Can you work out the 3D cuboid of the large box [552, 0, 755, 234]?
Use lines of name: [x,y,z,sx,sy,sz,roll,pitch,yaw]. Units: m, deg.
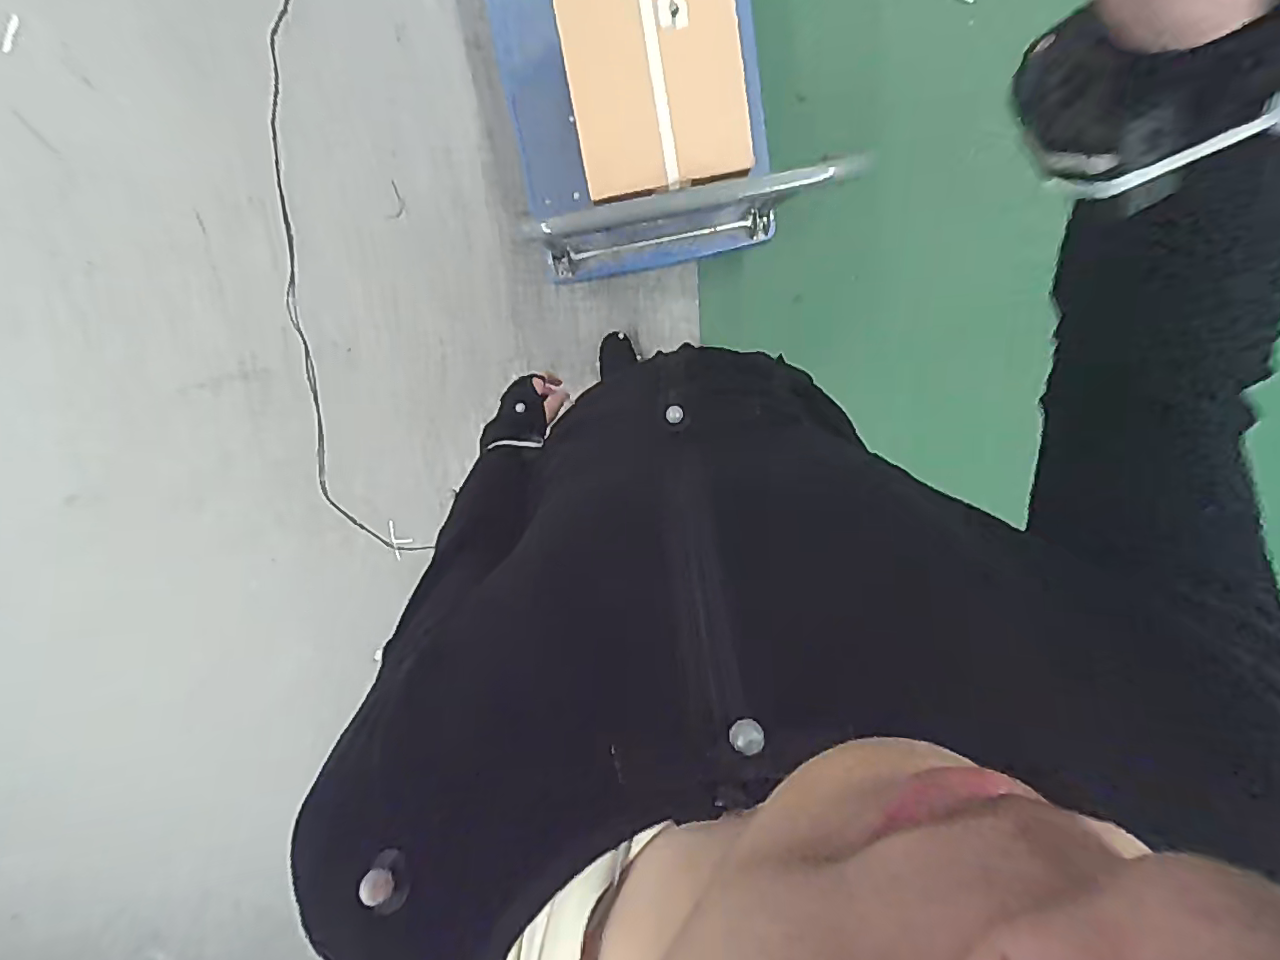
large box: [0.027,-0.774,1.107,0.320,0.320,0.408,-11,103,2]
